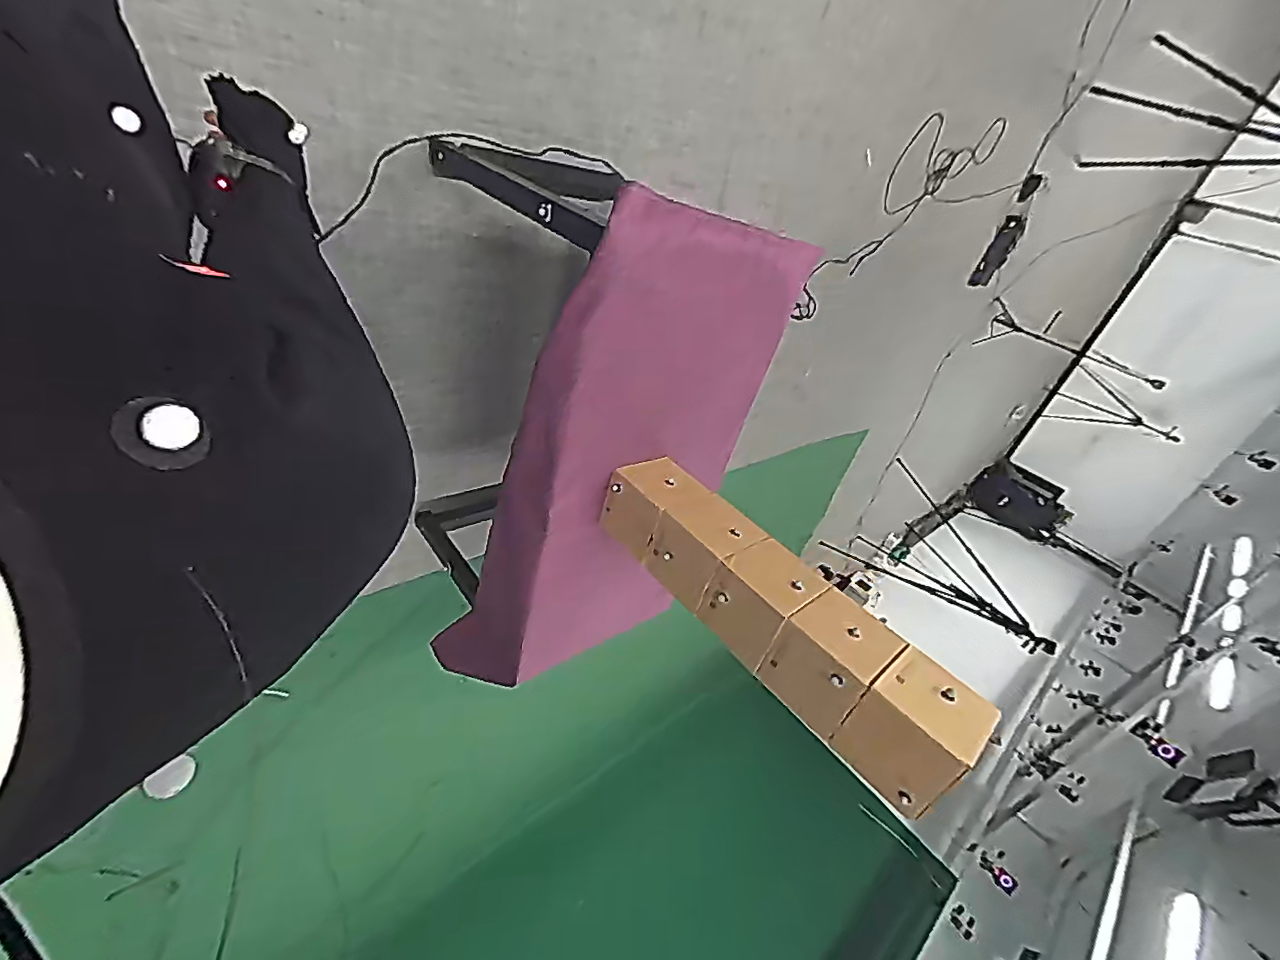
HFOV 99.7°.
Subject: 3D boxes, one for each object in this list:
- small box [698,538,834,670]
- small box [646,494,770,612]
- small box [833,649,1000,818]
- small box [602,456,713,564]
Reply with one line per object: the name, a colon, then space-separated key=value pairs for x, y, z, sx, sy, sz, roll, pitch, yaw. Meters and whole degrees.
small box: x=0.250 y=0.240 z=1.097 sx=0.179 sy=0.176 sz=0.168 roll=-15 pitch=133 yaw=-41
small box: x=0.144 y=0.151 z=1.183 sx=0.179 sy=0.176 sz=0.168 roll=-14 pitch=133 yaw=-40
small box: x=0.463 y=0.415 z=0.922 sx=0.168 sy=0.176 sz=0.179 roll=-17 pitch=135 yaw=-41
small box: x=0.035 y=0.063 z=1.268 sx=0.179 sy=0.176 sz=0.168 roll=-15 pitch=134 yaw=-41
